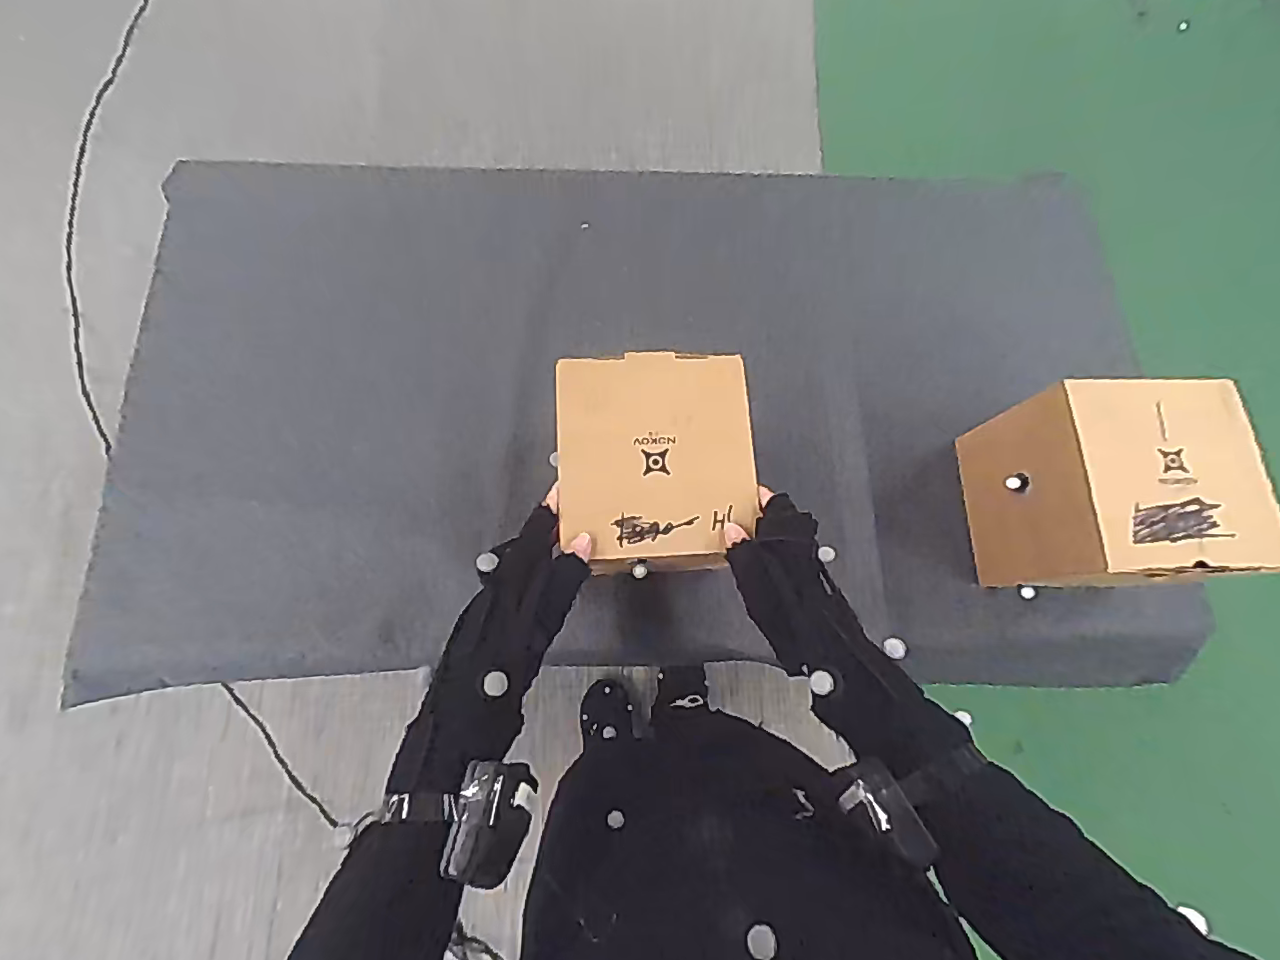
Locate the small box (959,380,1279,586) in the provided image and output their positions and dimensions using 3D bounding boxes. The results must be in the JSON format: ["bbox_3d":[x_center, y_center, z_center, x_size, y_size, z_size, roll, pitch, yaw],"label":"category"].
[{"bbox_3d":[0.460,0.015,0.547,0.168,0.176,0.179,0,74,-3],"label":"small box"}]

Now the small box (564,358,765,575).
[{"bbox_3d":[0.012,-0.003,0.529,0.168,0.176,0.179,-2,77,-4],"label":"small box"}]
